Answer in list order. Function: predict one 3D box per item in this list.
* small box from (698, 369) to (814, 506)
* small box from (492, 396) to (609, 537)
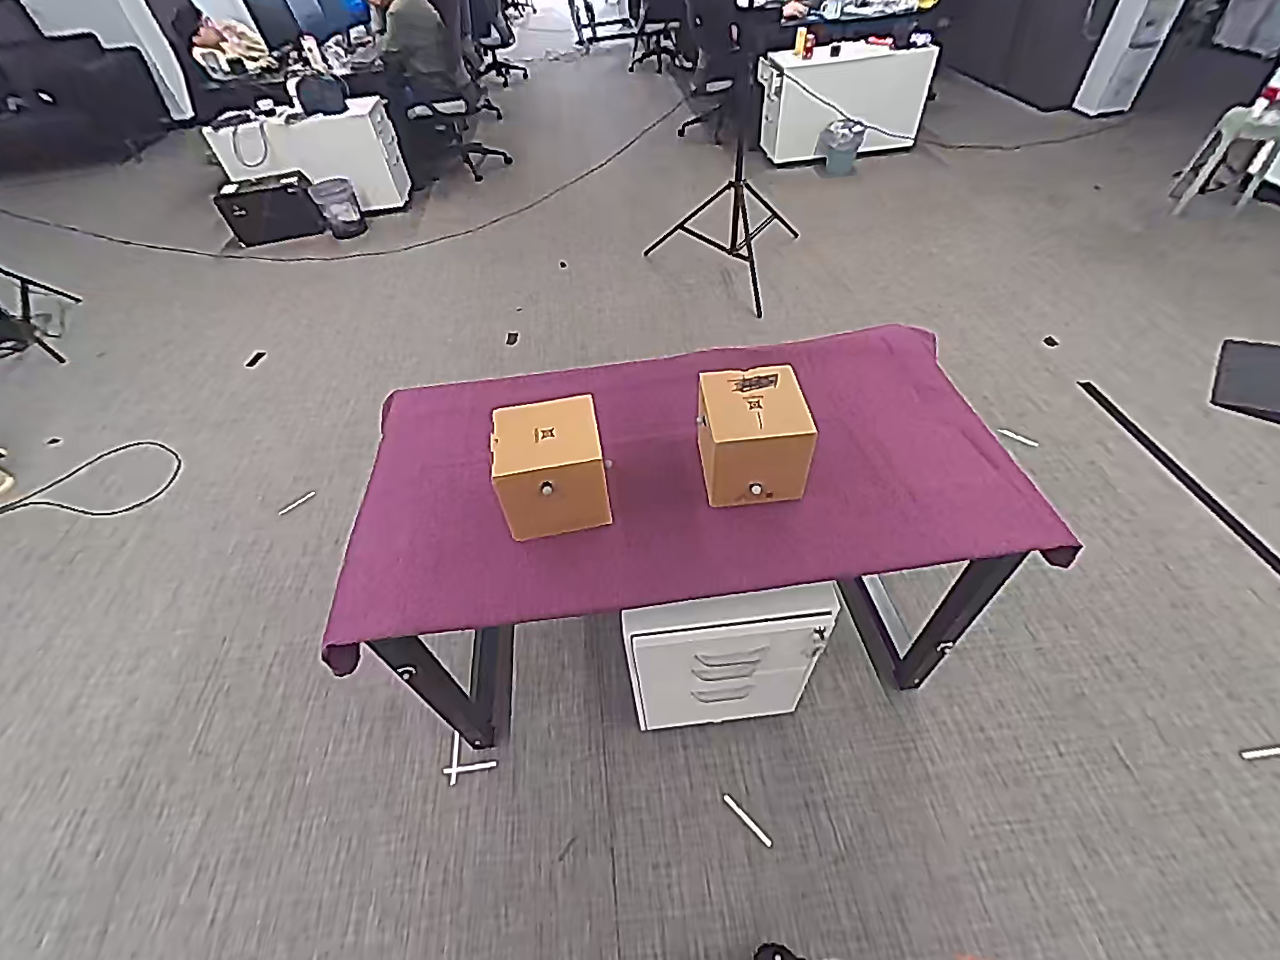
[{"bbox_3d":[0.195,-0.075,0.967,0.168,0.176,0.179,-5,49,1],"label":"small box"},{"bbox_3d":[-0.152,-0.021,0.951,0.179,0.176,0.168,-10,48,-3],"label":"small box"}]
